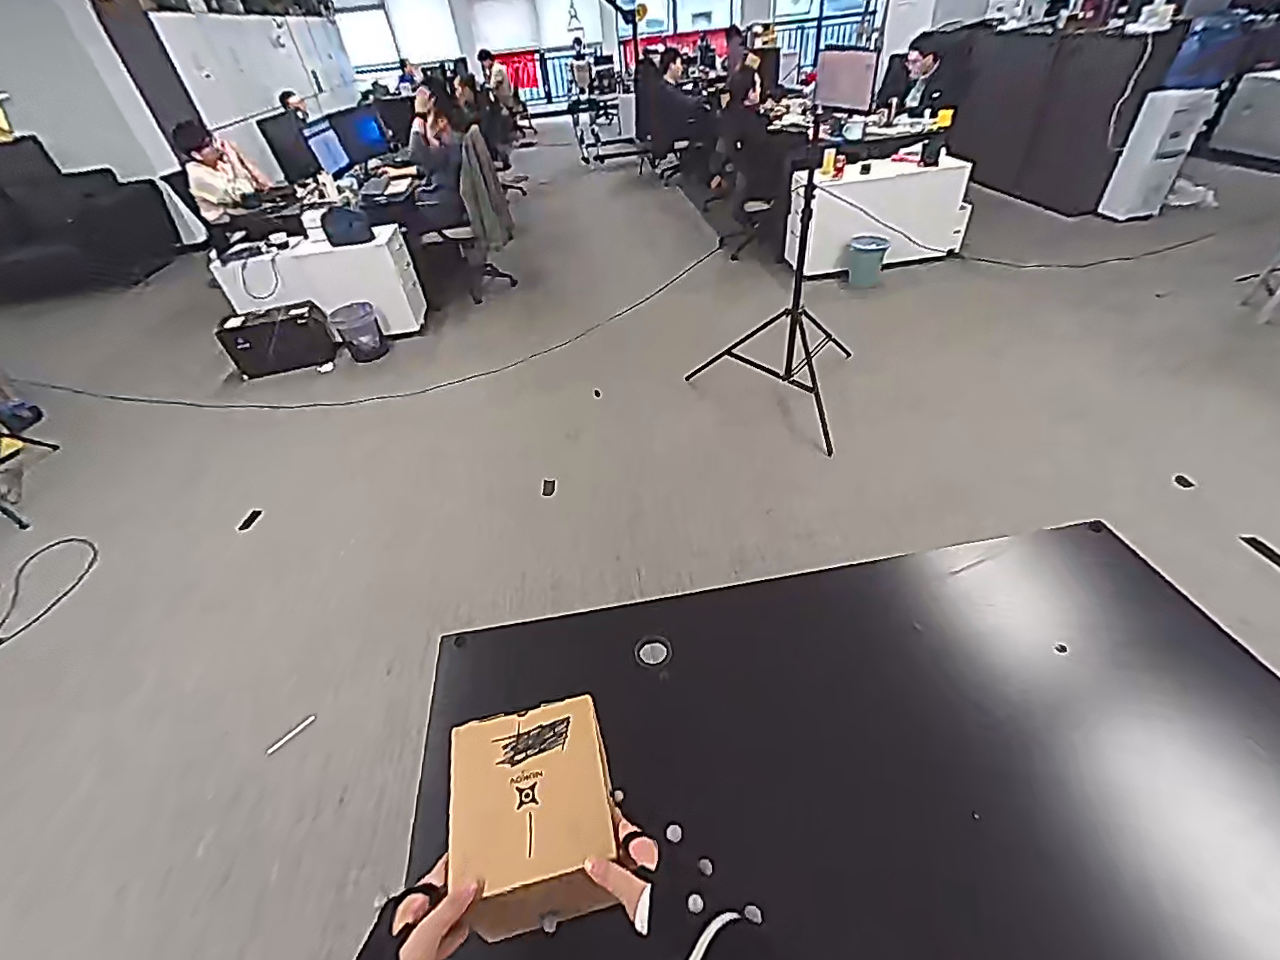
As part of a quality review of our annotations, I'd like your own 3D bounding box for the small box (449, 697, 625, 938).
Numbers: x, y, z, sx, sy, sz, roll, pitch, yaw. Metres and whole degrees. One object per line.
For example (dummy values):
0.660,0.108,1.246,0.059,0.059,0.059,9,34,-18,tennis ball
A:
-0.117,0.393,0.636,0.168,0.176,0.179,-12,42,-8,small box
